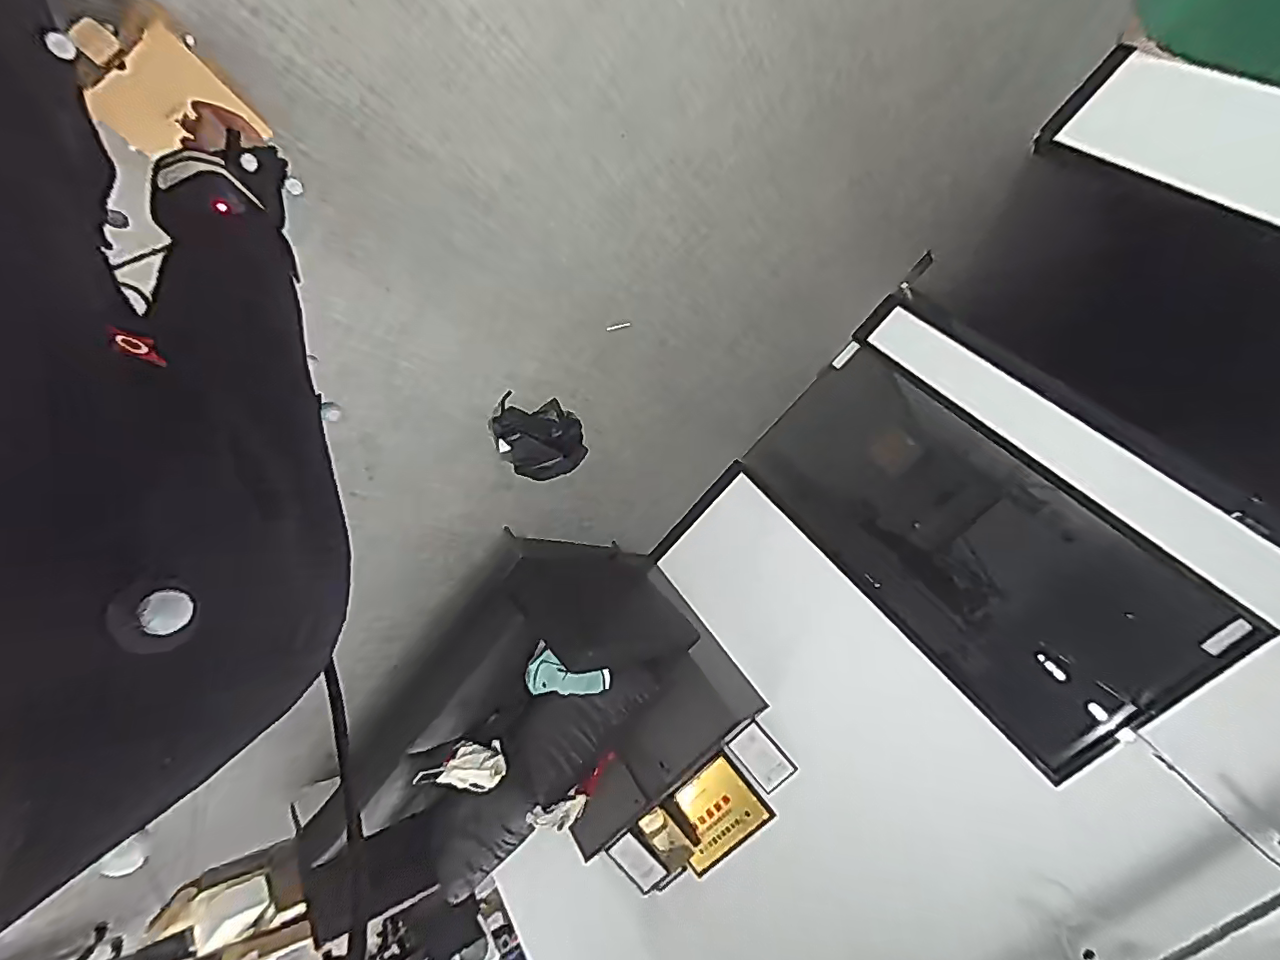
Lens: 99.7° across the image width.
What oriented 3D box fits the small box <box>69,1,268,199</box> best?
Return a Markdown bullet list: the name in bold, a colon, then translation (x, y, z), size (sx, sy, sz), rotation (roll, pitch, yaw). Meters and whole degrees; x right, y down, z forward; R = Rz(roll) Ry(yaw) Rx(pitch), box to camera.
- **small box**: translation (-0.750, -0.604, 0.865), size (0.168, 0.176, 0.179), rotation (-41, 151, 3)
